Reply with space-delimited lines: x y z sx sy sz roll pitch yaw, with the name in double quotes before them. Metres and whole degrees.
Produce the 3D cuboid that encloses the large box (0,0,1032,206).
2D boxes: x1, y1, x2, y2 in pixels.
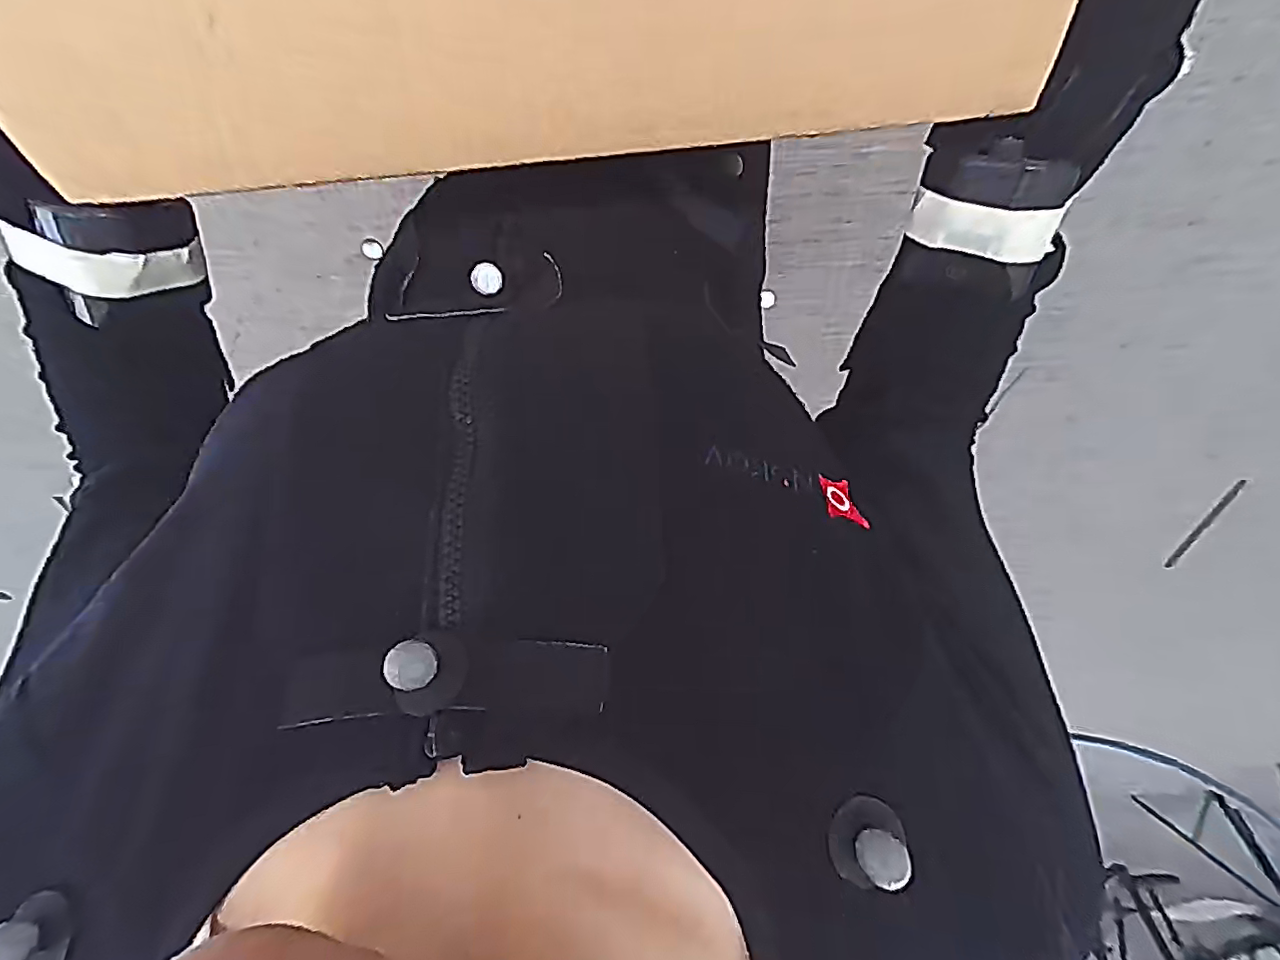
"large box" -0.064 -0.353 0.222 0.408 0.320 0.320 -4 137 3
